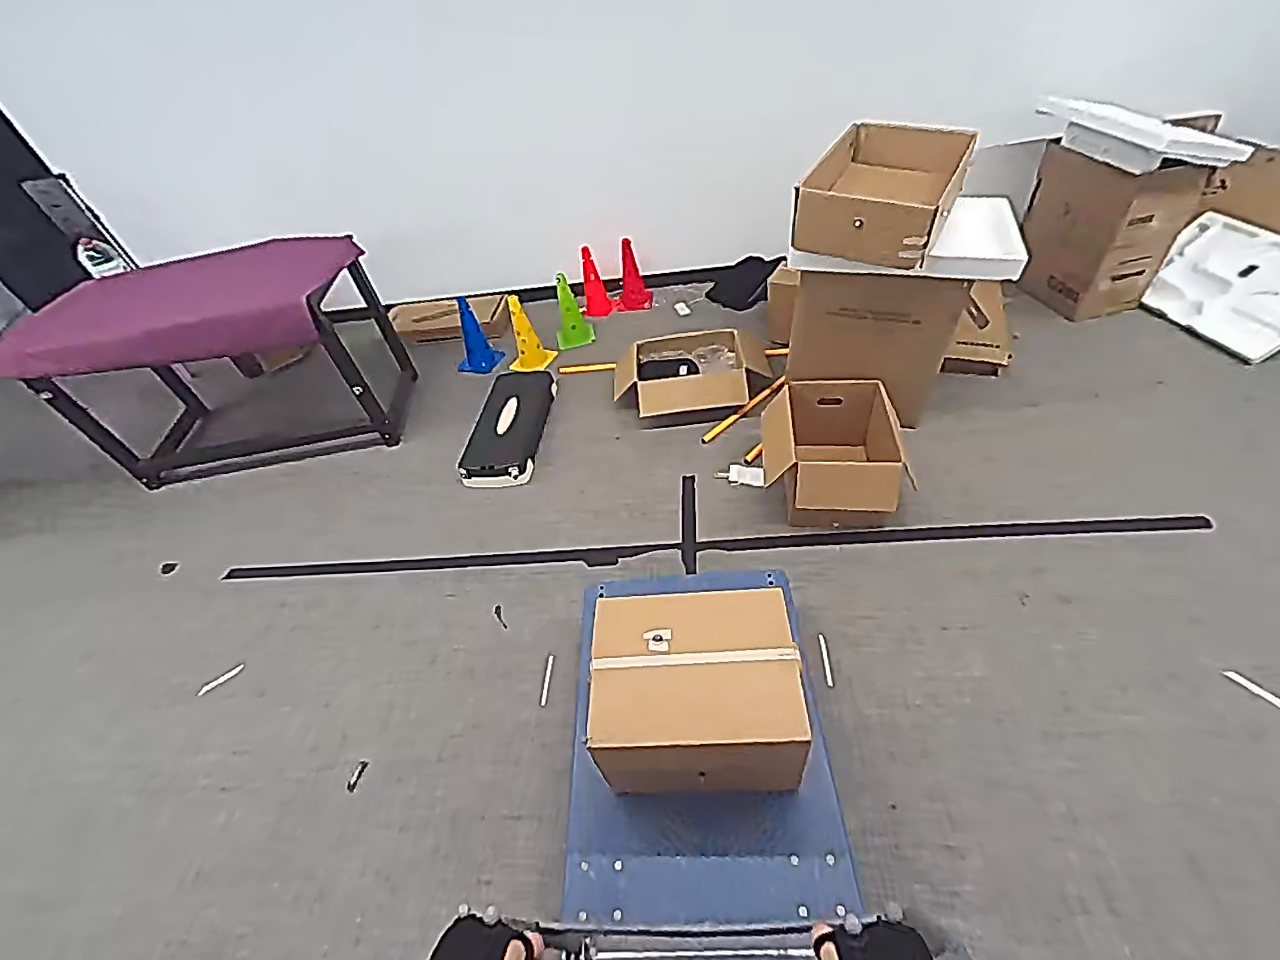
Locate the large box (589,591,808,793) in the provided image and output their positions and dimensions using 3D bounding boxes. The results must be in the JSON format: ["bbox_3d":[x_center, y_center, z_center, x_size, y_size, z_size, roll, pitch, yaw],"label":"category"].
[{"bbox_3d":[0.124,0.470,1.184,0.408,0.320,0.320,-6,45,6],"label":"large box"}]
